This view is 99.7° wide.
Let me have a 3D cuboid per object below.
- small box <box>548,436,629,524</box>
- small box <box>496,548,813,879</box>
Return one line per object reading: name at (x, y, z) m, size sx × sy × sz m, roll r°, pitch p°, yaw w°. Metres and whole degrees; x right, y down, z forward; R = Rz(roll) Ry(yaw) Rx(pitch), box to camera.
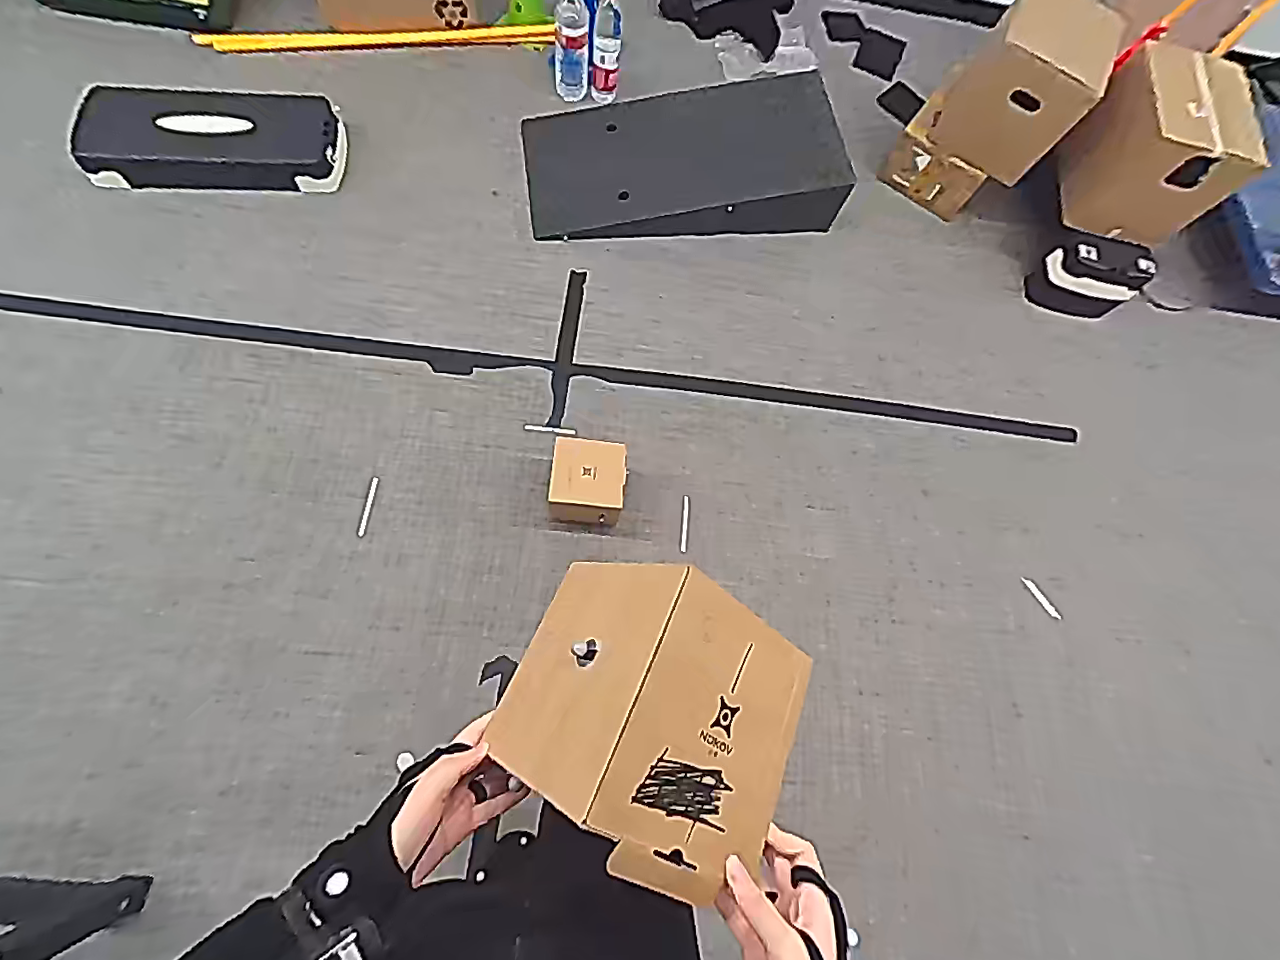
small box at (-0.129, 0.007, 1.342) m, size 0.179 × 0.176 × 0.168 m, roll 7°, pitch 70°, yaw -5°
small box at (0.007, 0.174, 0.443) m, size 0.168 × 0.176 × 0.179 m, roll 42°, pitch 59°, yaw -27°
